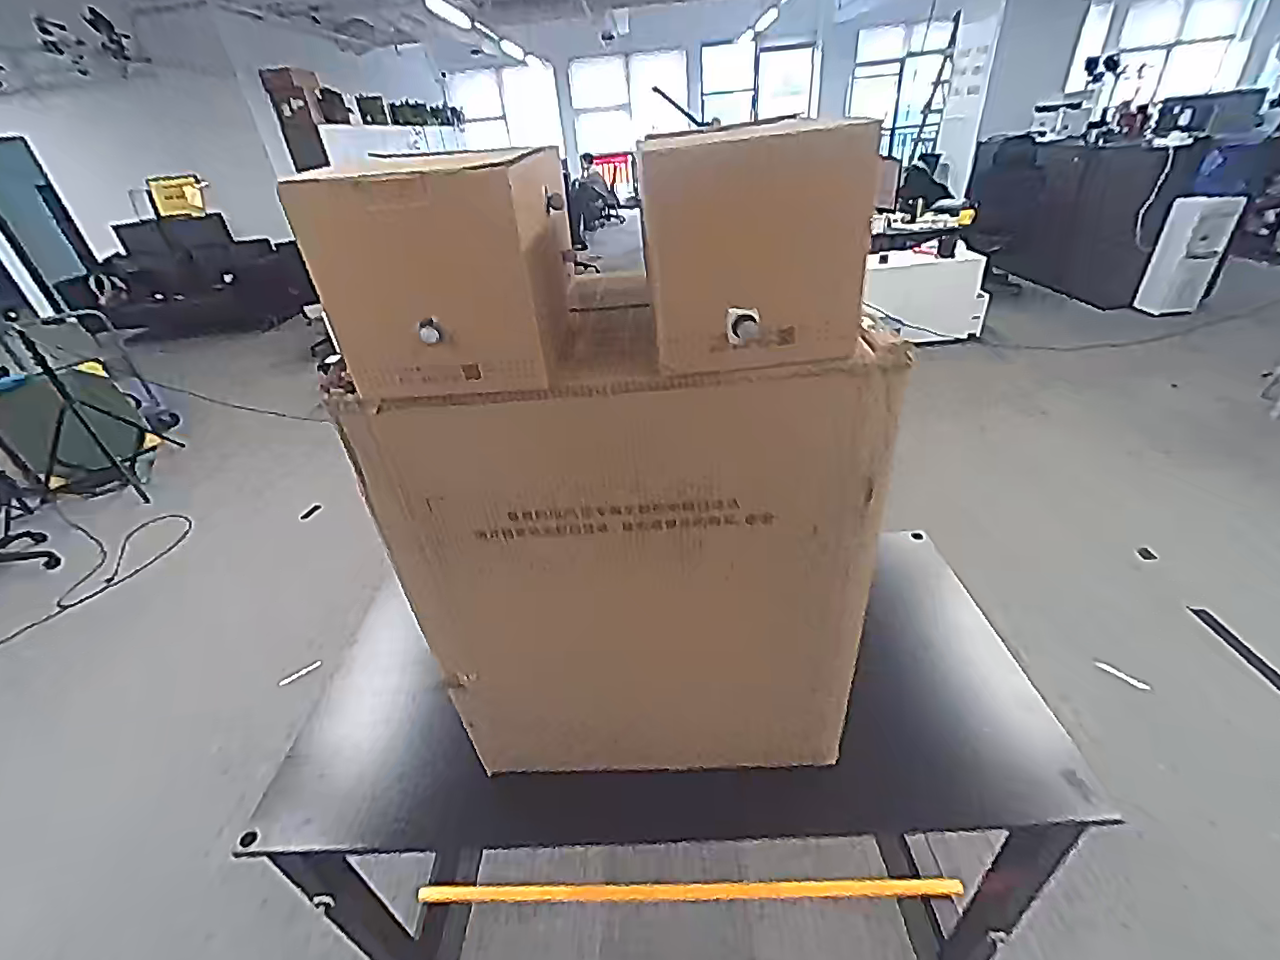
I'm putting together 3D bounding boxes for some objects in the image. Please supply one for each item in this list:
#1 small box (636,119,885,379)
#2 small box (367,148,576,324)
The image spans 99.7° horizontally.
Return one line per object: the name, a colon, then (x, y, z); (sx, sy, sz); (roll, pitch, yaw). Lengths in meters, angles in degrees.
small box: (0.088, -0.203, 0.473); (0.168, 0.176, 0.179); (-8, 34, 2)
small box: (-0.183, -0.292, 0.649); (0.179, 0.176, 0.168); (-2, 32, 3)
